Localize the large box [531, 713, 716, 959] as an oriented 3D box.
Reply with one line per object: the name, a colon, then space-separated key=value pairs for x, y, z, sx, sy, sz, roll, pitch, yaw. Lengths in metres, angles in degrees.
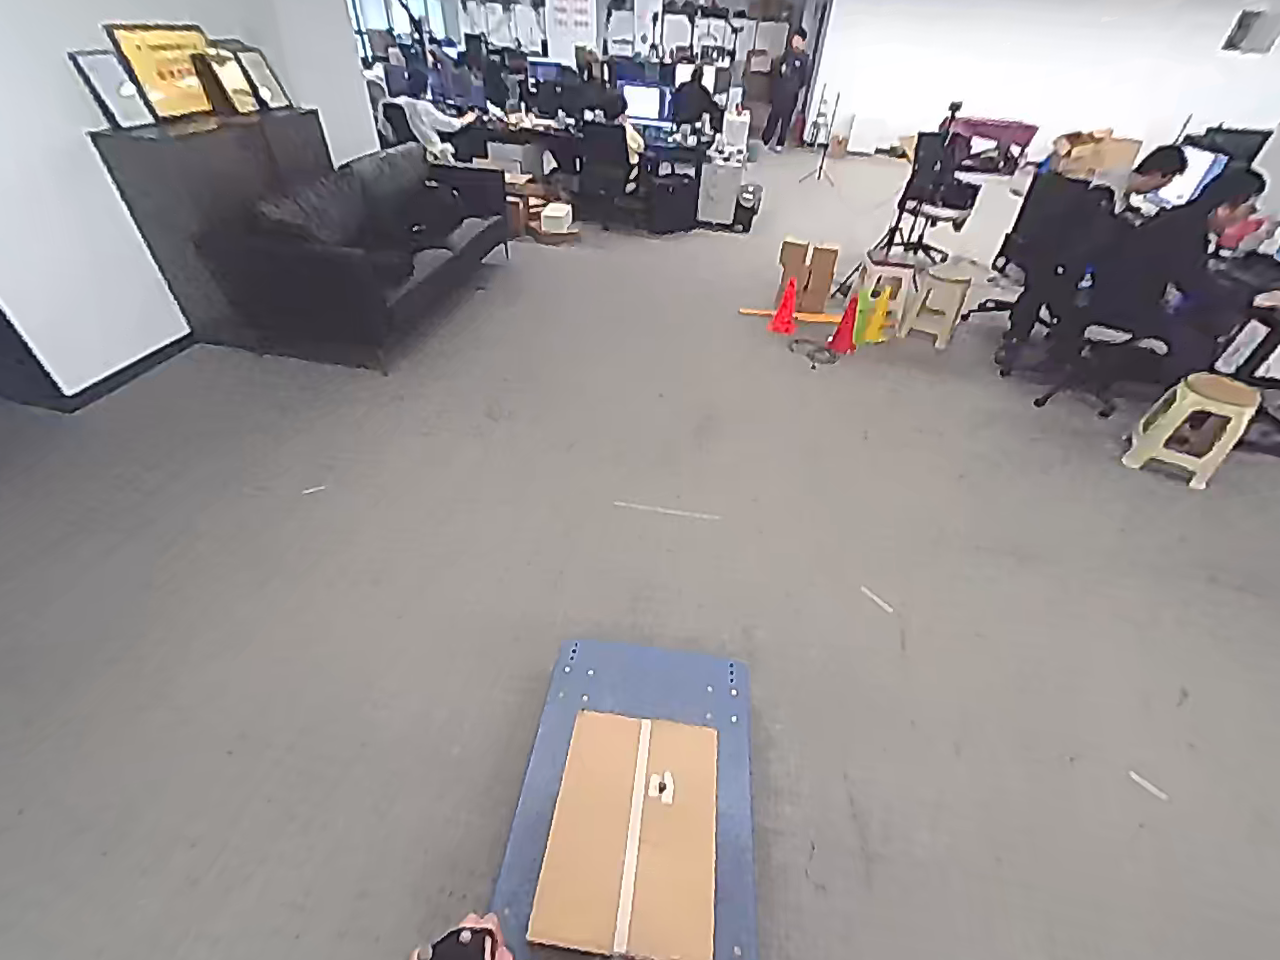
large box: x=-0.015 y=0.770 z=1.128 sx=0.320 sy=0.320 sz=0.408 roll=7 pitch=39 yaw=4
